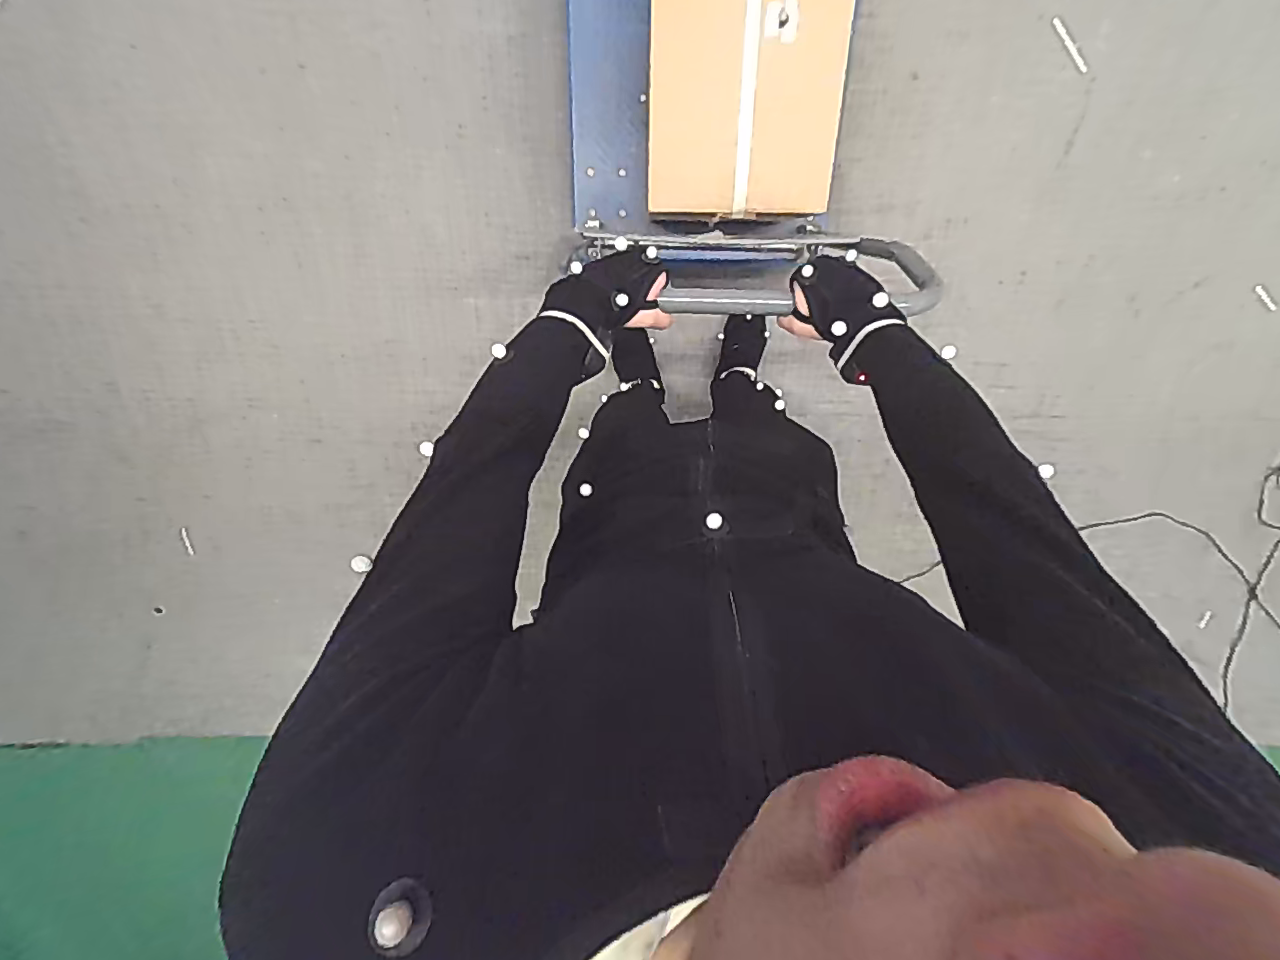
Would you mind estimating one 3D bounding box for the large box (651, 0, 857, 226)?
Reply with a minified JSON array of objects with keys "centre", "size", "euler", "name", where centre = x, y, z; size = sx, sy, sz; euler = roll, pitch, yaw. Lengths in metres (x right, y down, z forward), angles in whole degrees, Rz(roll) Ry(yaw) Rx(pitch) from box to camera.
[{"centre":[0.178,-0.697,0.994],"size":[0.320,0.320,0.408],"euler":[0,112,0],"name":"large box"}]
